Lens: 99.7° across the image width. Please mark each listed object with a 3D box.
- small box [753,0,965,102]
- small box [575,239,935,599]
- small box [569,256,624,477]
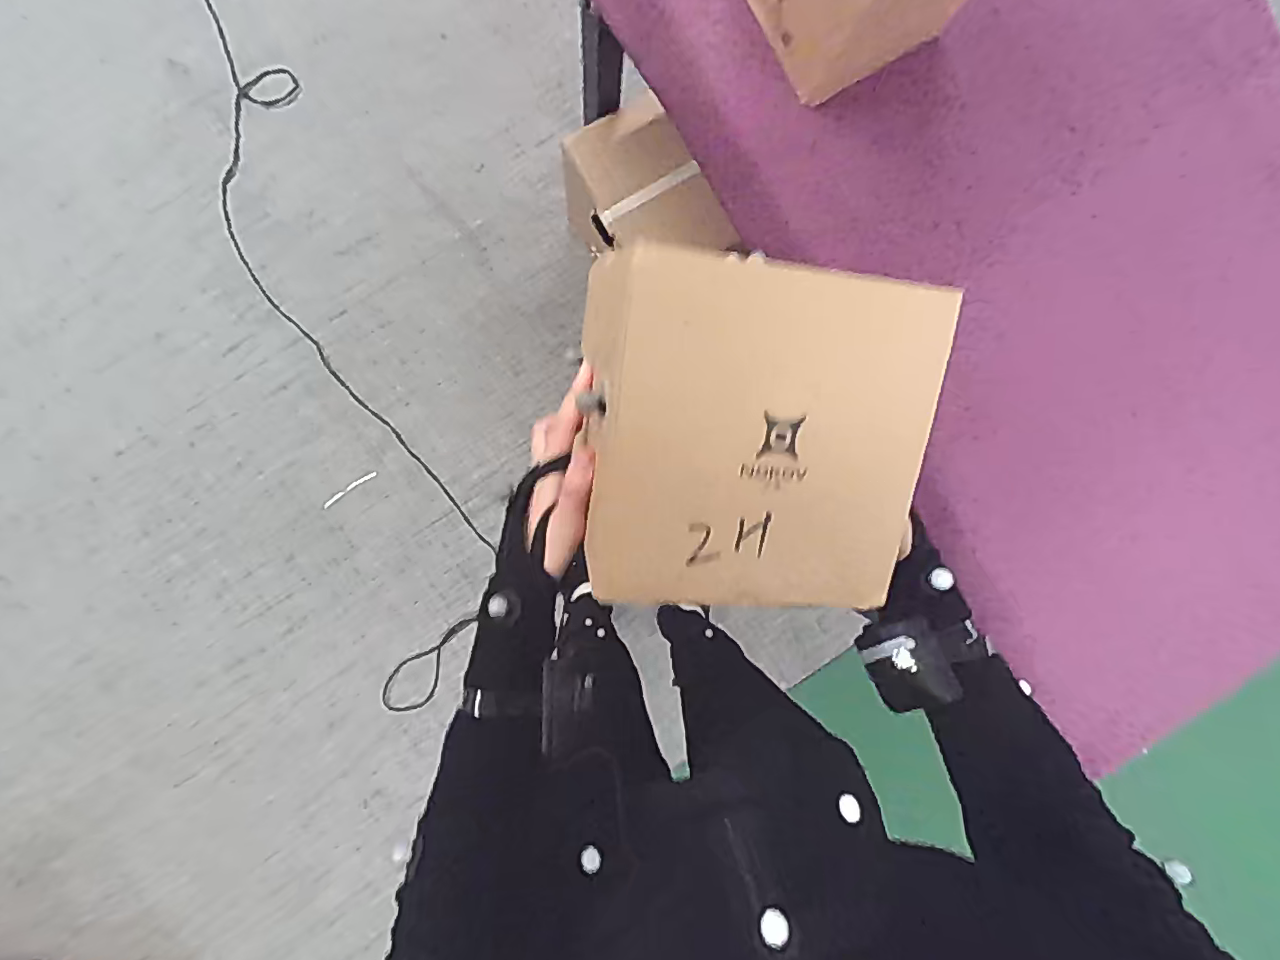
[{"bbox_3d":[0.220,-0.504,0.493,0.179,0.176,0.168,-31,95,-3],"label":"small box"},{"bbox_3d":[0.048,-0.040,0.354,0.168,0.176,0.179,4,105,-11],"label":"small box"},{"bbox_3d":[0.024,-0.098,0.509,0.168,0.176,0.179,5,106,-12],"label":"small box"}]
